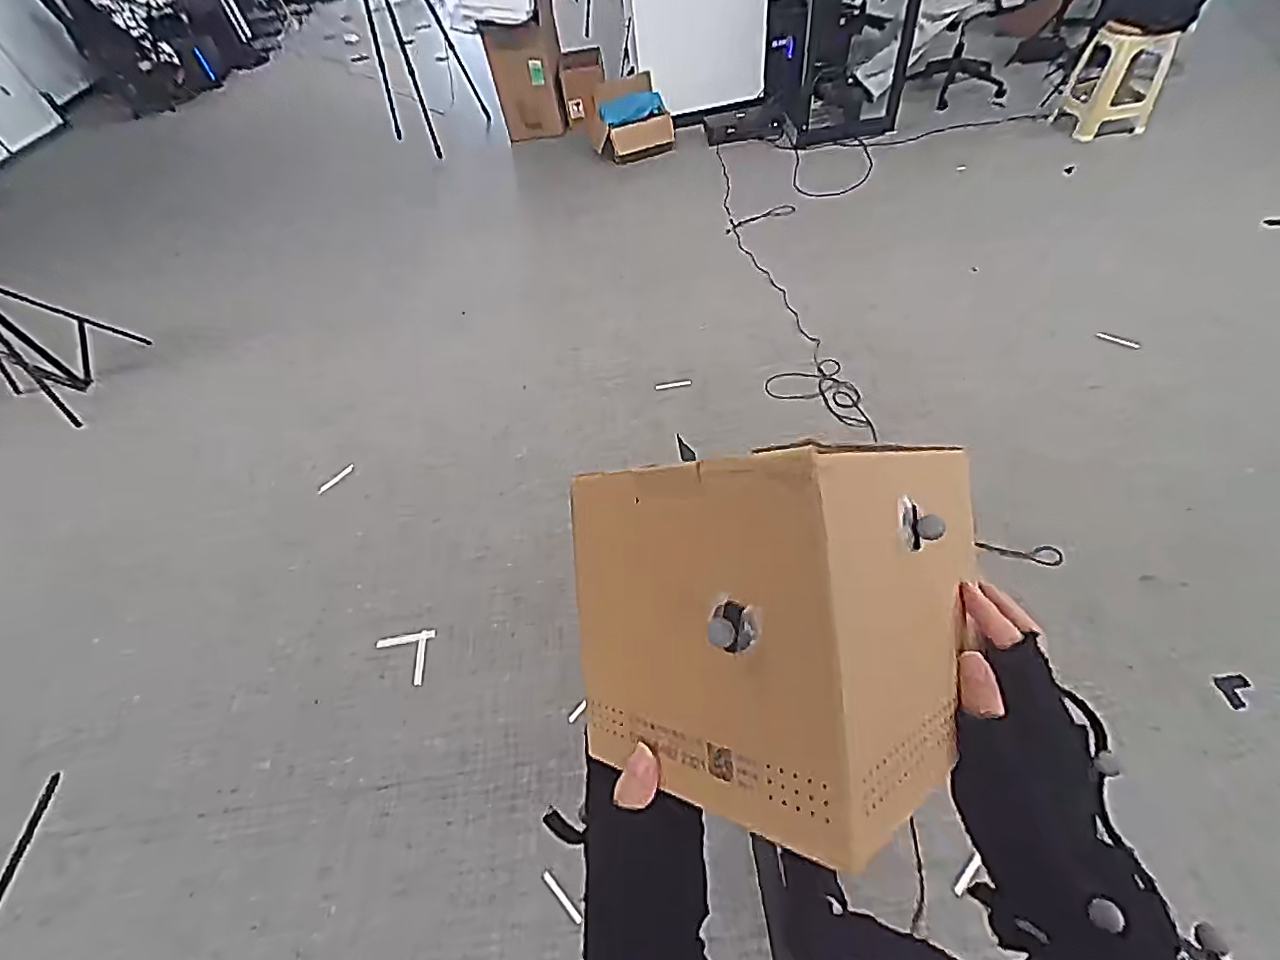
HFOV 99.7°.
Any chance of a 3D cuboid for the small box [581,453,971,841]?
[{"bbox_3d":[0.085,0.080,0.337,0.168,0.179,0.176,-8,86,48],"label":"small box"}]
